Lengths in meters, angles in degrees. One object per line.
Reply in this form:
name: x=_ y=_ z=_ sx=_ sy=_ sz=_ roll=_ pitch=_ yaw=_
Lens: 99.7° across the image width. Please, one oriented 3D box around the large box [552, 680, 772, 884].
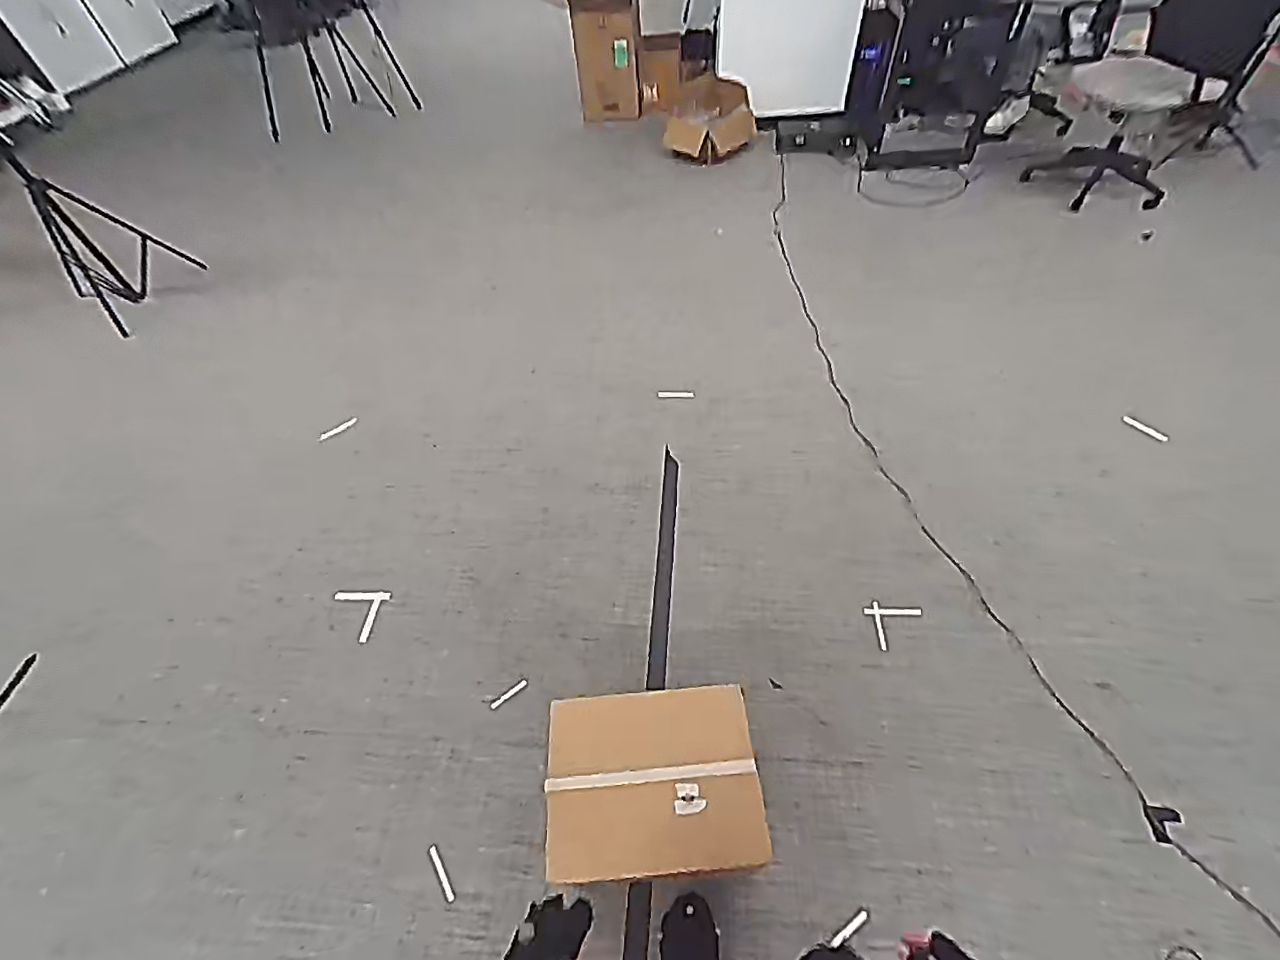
large box: x=0.035 y=0.656 z=1.166 sx=0.408 sy=0.320 sz=0.320 roll=-5 pitch=53 yaw=0
